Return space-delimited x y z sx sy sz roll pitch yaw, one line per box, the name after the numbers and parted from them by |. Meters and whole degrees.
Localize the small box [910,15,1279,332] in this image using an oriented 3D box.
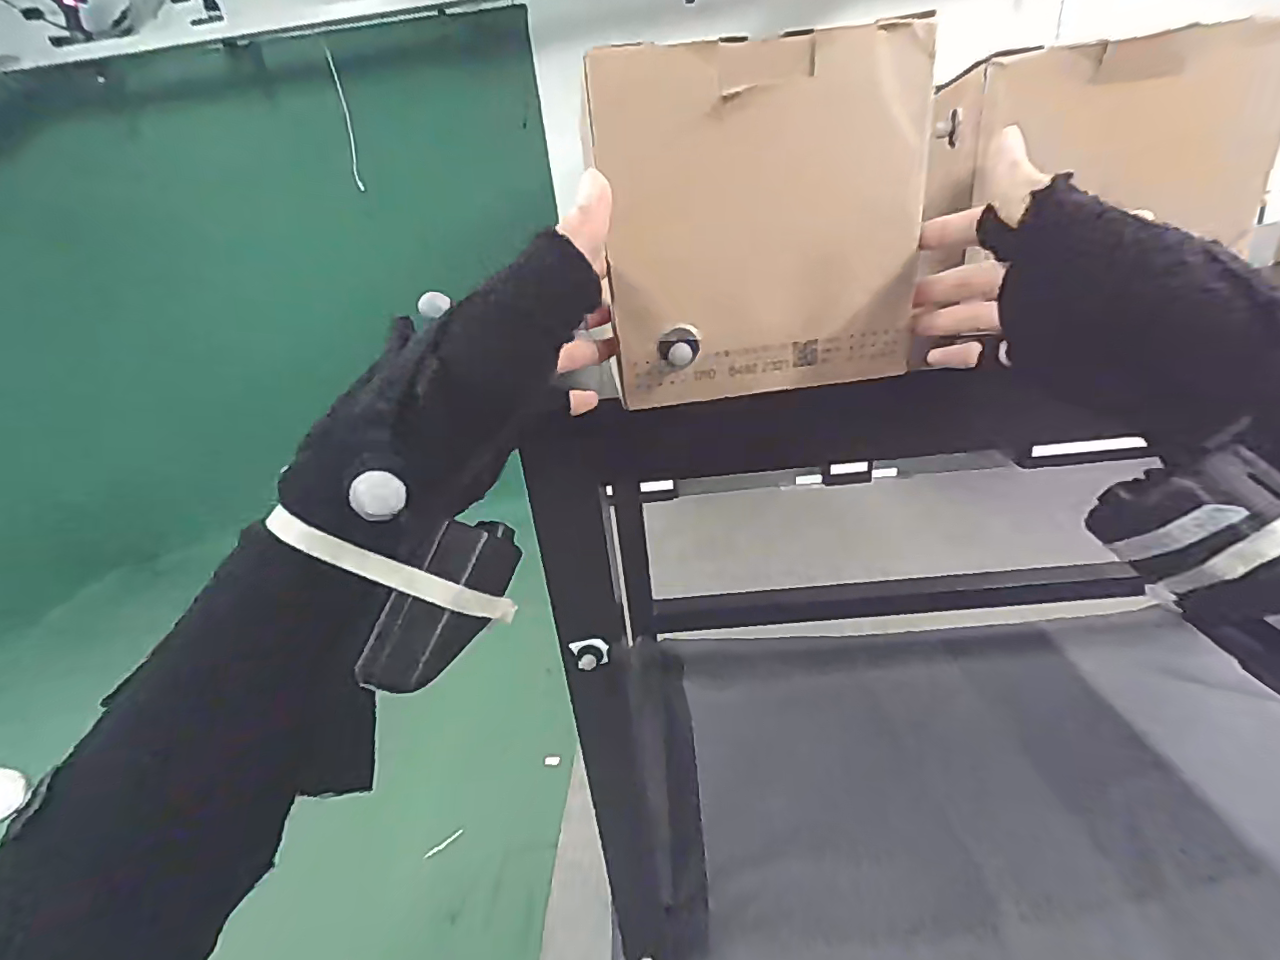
0.312 -0.211 0.413 0.168 0.176 0.179 -1 25 11 | small box

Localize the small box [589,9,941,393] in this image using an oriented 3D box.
0.060 -0.158 0.350 0.168 0.176 0.179 -8 23 -3 | small box
